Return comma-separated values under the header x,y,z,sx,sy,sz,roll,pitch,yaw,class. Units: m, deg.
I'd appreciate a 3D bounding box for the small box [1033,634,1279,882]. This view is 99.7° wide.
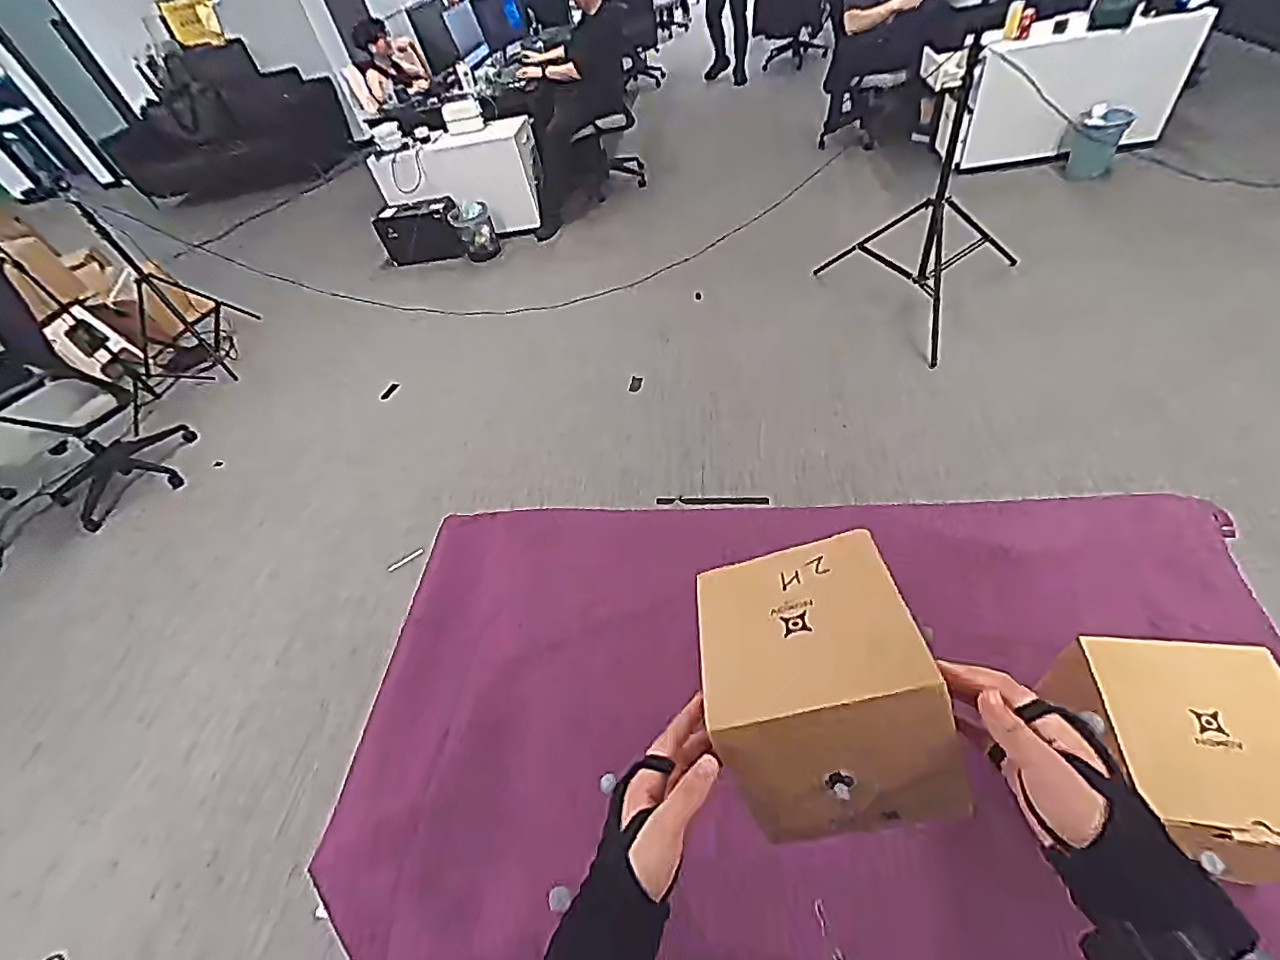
x,y,z,sx,sy,sz,roll,pitch,yaw,class
0.545,0.285,0.560,0.168,0.176,0.179,1,47,14,small box

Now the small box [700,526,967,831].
x,y,z,sx,sy,sz,roll,pitch,yaw,class
0.156,0.173,0.467,0.168,0.176,0.179,-17,27,14,small box
